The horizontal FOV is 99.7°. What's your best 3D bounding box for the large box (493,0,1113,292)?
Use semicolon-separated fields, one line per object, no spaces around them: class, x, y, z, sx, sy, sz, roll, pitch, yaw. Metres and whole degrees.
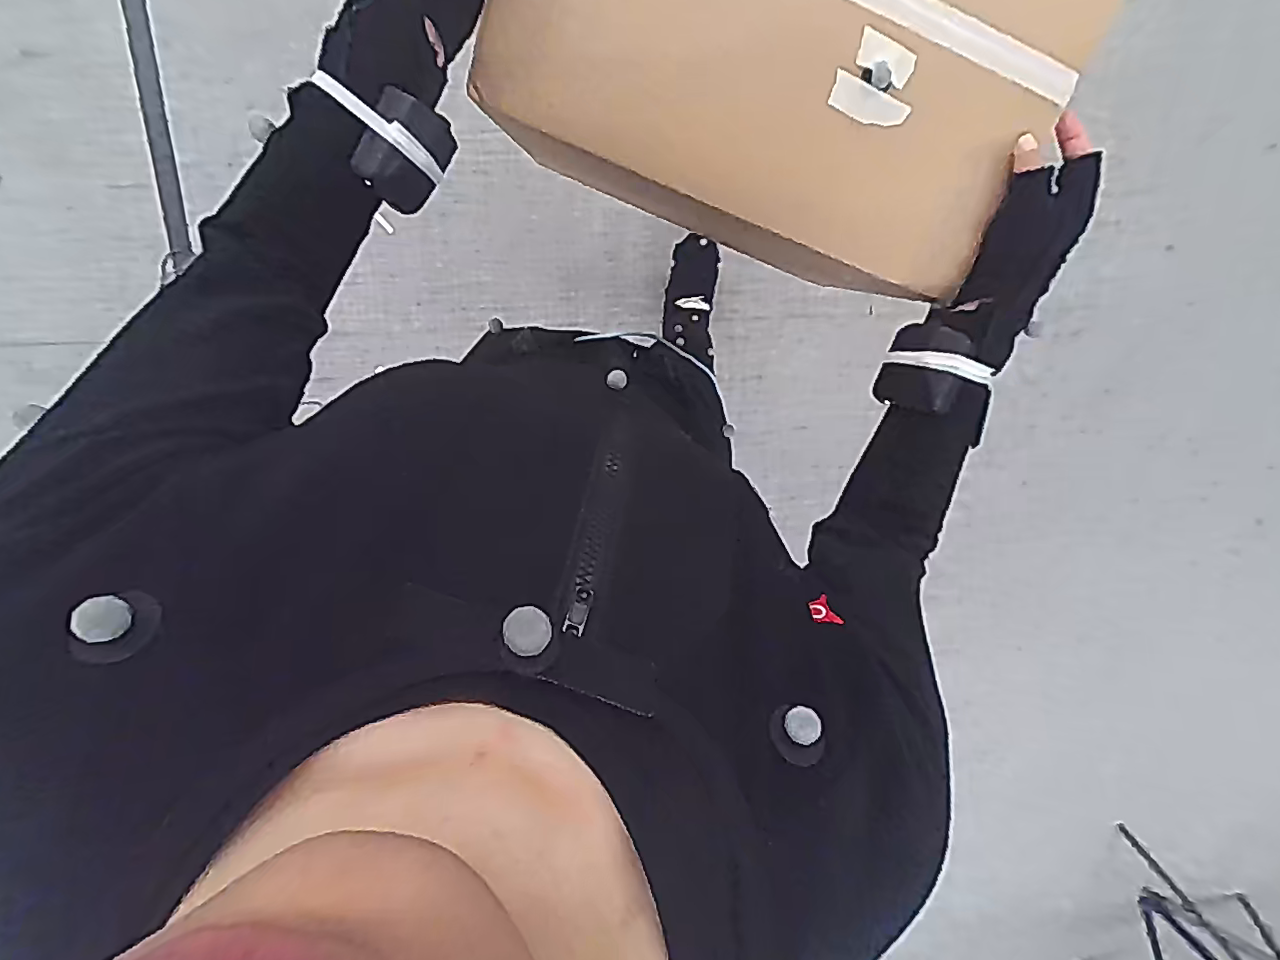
large box;0.120;-0.407;0.510;0.408;0.320;0.320;19;112;-10
